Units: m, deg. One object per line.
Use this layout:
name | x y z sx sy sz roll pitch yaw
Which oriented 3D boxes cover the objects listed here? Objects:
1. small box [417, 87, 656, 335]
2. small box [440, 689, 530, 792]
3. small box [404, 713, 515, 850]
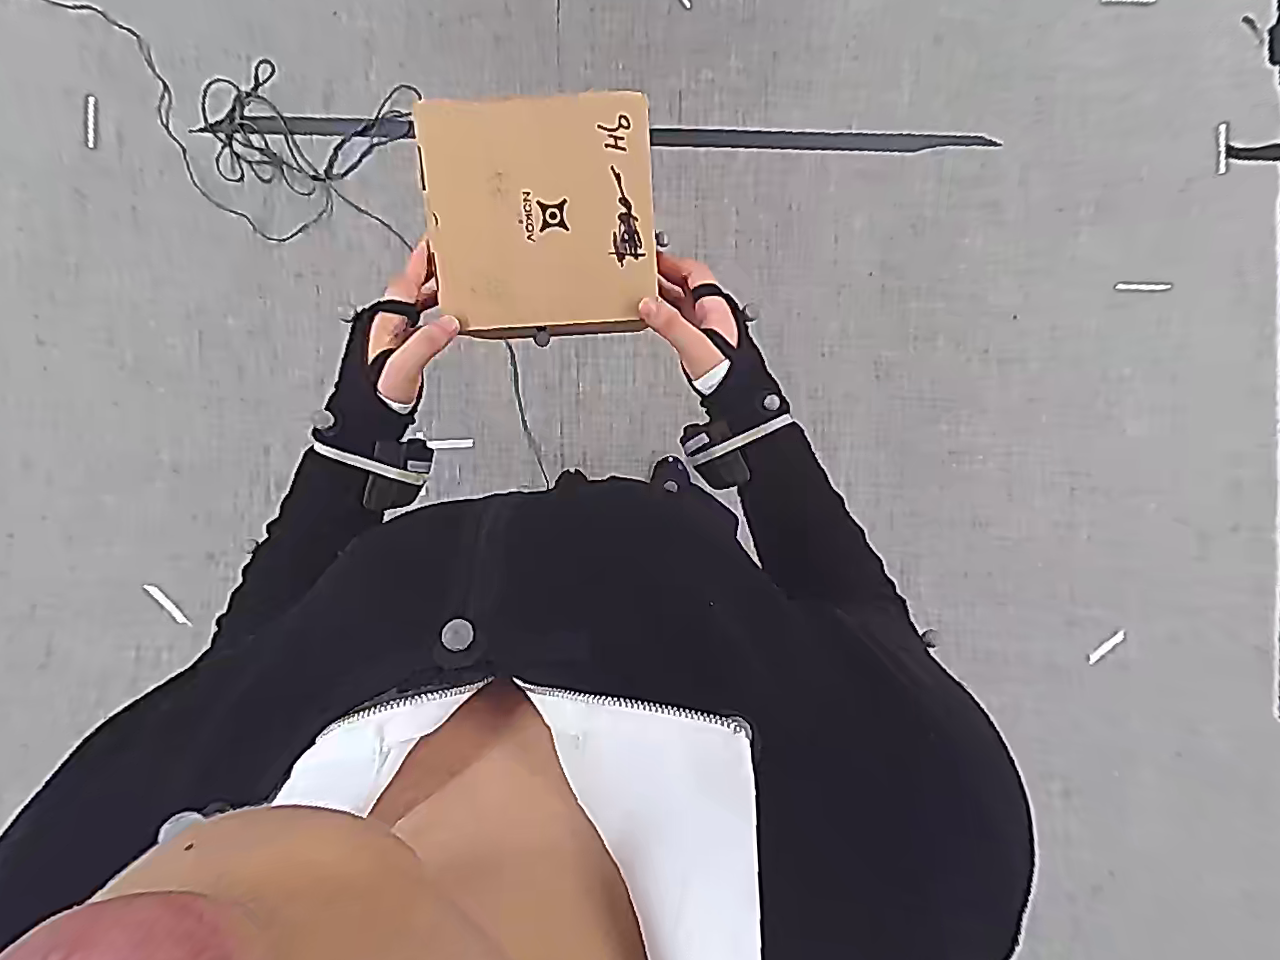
small box | -0.080 -0.227 0.498 0.179 0.176 0.168 -4 102 -3
small box | -0.341 0.579 1.227 0.168 0.176 0.179 -2 90 -2
small box | -0.346 0.584 1.063 0.168 0.176 0.179 -3 90 -2
